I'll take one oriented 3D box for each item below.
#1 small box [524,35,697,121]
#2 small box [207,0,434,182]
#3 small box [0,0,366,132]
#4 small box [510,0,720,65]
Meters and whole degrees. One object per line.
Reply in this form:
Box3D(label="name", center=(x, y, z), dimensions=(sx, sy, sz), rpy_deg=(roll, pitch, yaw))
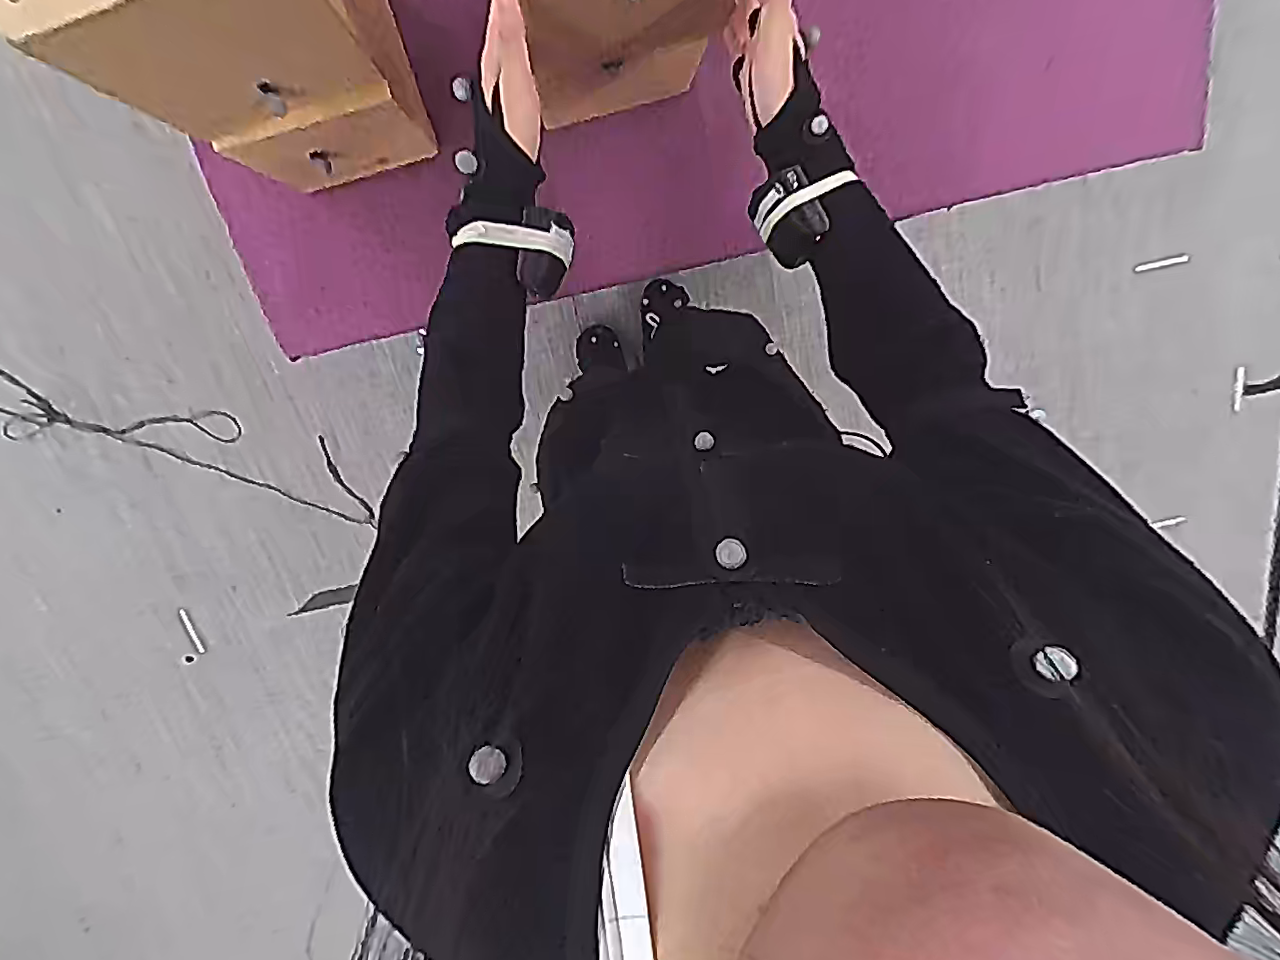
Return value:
Box3D(label="small box", center=(-0.042, -0.489, 0.534), dimensions=(0.179, 0.176, 0.168), rpy_deg=(-16, 106, -2))
Box3D(label="small box", center=(-0.327, -0.414, 0.529), dimensions=(0.168, 0.176, 0.179), rpy_deg=(-17, 106, 0))
Box3D(label="small box", center=(-0.318, -0.377, 0.369), dimensions=(0.179, 0.176, 0.168), rpy_deg=(-19, 106, 0))
Box3D(label="small box", center=(-0.025, -0.434, 0.383), dimensions=(0.179, 0.176, 0.168), rpy_deg=(-14, 108, -3))
